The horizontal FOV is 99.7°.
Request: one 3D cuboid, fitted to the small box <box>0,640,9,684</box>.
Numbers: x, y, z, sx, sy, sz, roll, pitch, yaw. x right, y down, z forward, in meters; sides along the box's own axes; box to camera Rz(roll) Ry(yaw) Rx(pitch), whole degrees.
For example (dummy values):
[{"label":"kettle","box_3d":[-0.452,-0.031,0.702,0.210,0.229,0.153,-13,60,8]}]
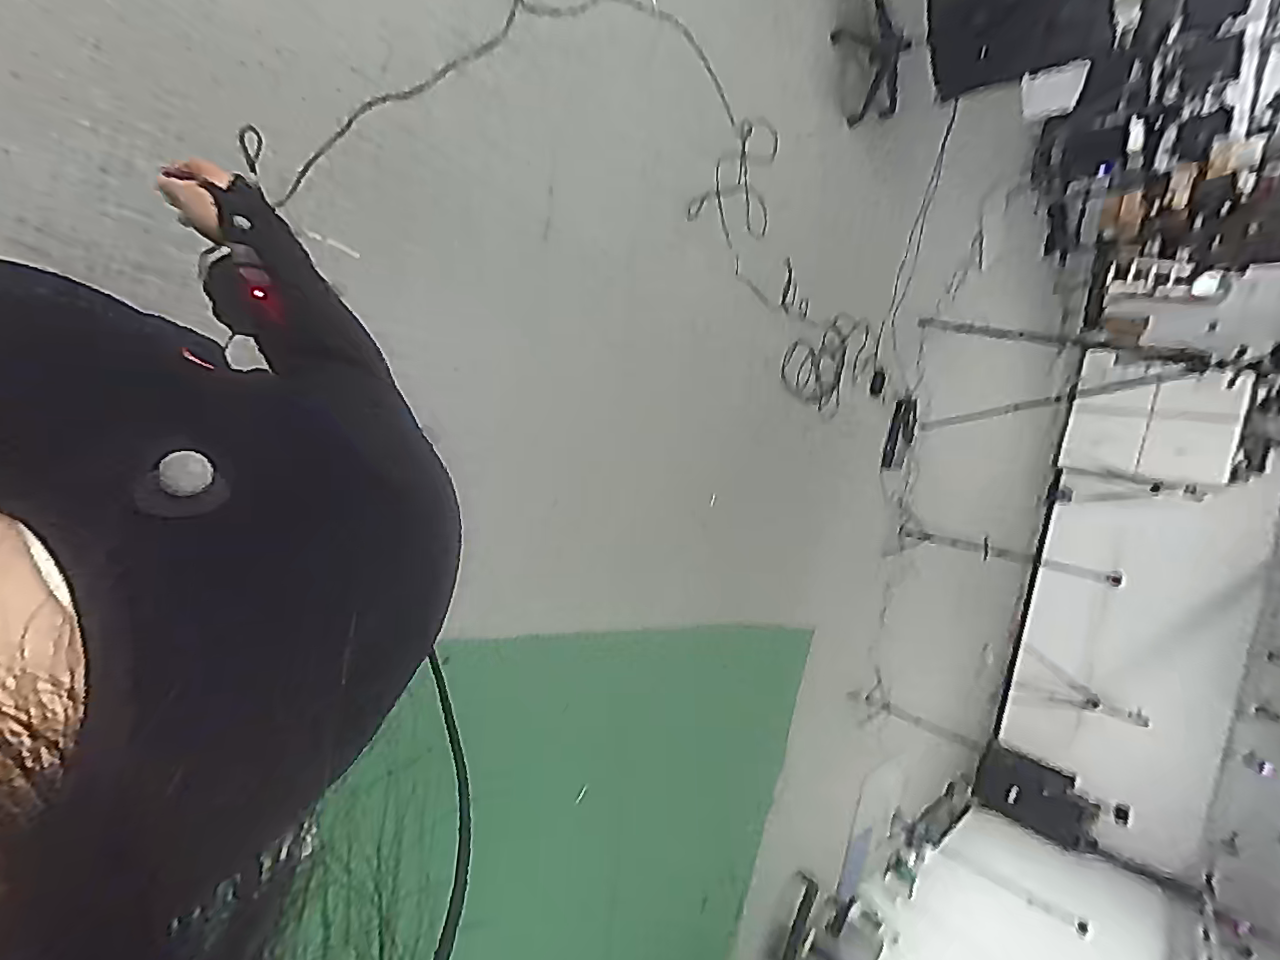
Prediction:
[{"label":"small box","box_3d":[-1.178,0.370,0.876,0.168,0.176,0.179,21,84,-46]}]
